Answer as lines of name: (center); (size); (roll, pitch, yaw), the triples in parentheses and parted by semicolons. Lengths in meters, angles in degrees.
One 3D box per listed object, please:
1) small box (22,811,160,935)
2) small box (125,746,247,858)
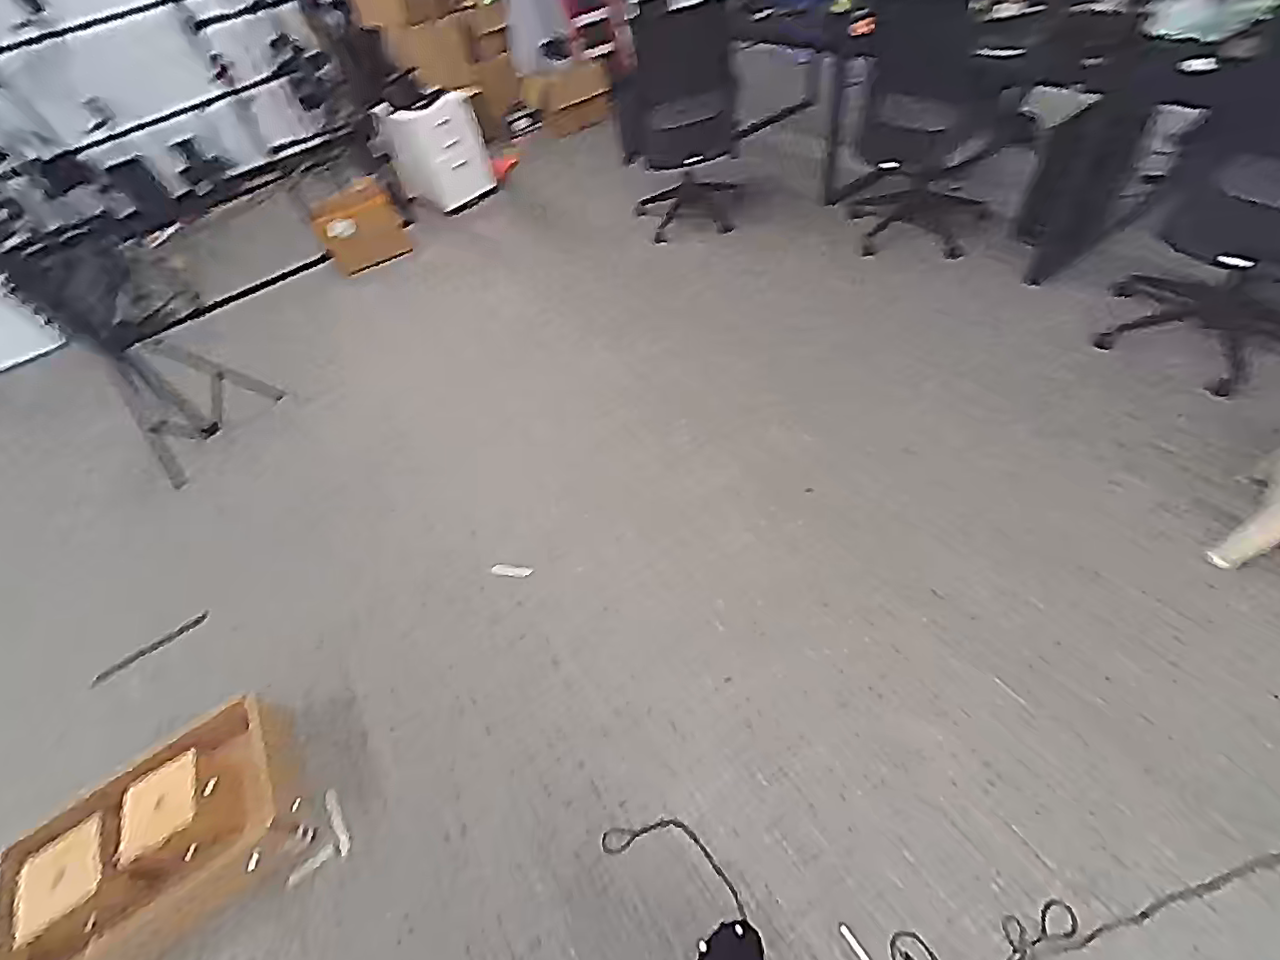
small box: (-1.295, 0.933, 1.288); (0.168, 0.176, 0.179); (-33, 52, -18)
small box: (-1.129, 0.811, 1.359); (0.168, 0.176, 0.179); (-29, 52, -11)
